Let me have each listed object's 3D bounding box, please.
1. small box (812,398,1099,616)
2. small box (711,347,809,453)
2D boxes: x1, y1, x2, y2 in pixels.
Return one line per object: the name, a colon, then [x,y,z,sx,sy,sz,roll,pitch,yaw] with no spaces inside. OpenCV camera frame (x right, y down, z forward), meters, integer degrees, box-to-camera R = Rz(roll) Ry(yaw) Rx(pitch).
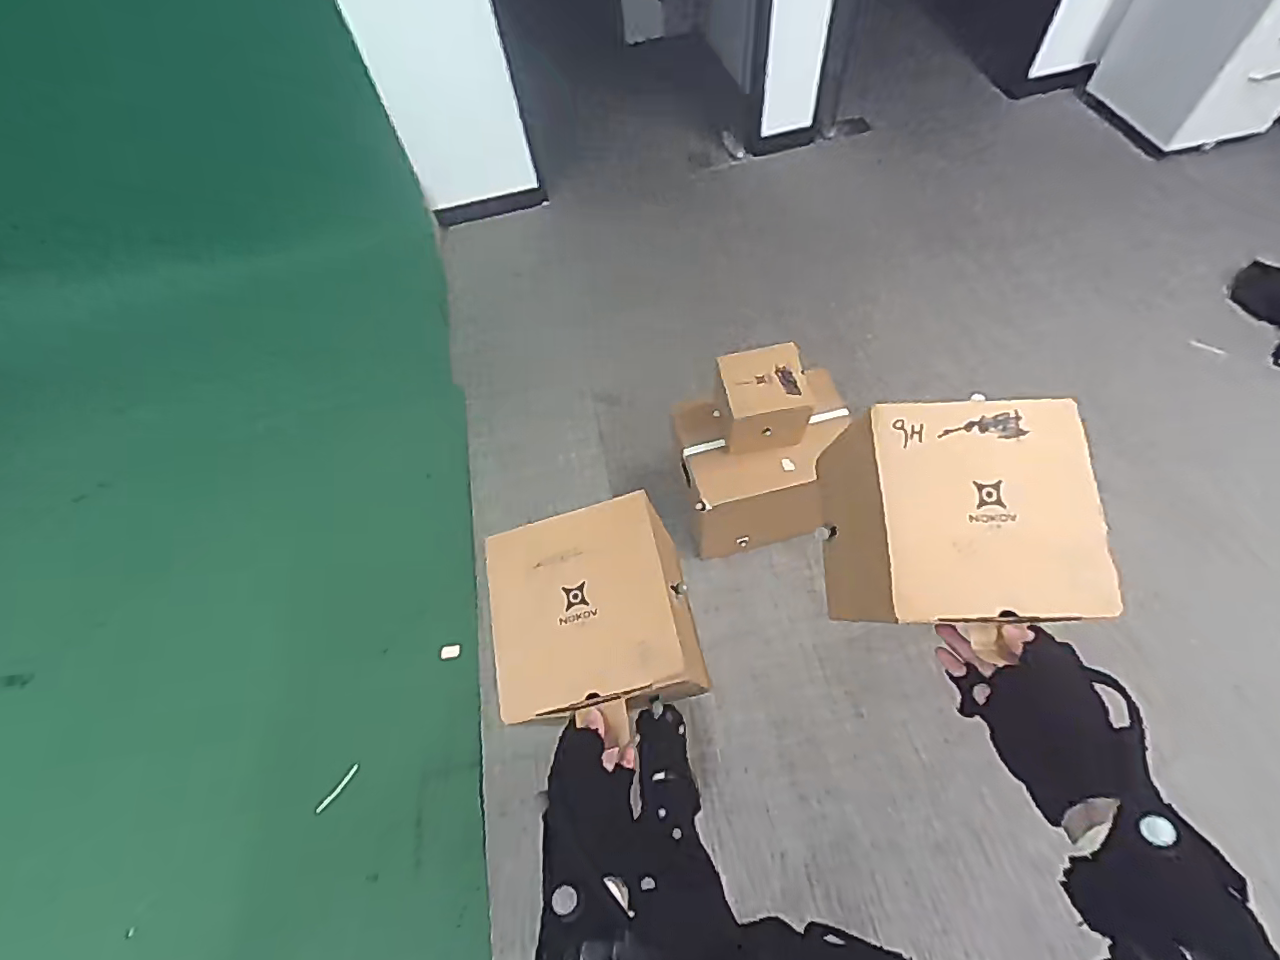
small box: [0.271,0.035,0.509,0.168,0.176,0.179,-1,77,2]
small box: [0.262,-0.176,1.225,0.179,0.176,0.168,-7,63,1]
